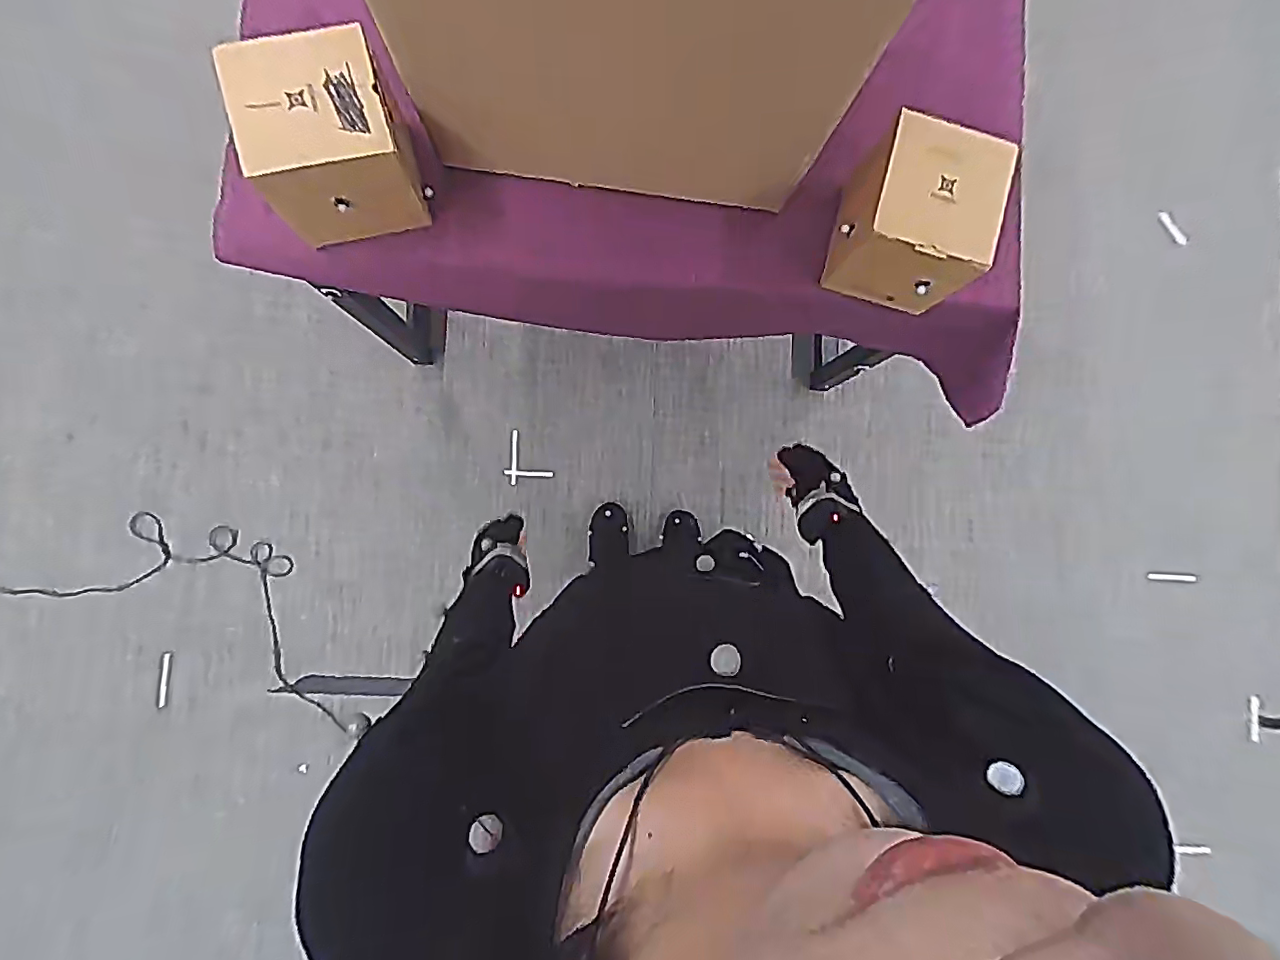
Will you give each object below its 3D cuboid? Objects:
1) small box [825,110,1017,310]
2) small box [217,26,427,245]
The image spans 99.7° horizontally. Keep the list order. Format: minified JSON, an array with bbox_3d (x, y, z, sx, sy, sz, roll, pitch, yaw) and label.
[{"bbox_3d":[0.386,-0.369,0.773,0.168,0.176,0.179,15,84,-4],"label":"small box"},{"bbox_3d":[-0.398,-0.440,0.714,0.179,0.176,0.168,-15,87,-7],"label":"small box"}]
